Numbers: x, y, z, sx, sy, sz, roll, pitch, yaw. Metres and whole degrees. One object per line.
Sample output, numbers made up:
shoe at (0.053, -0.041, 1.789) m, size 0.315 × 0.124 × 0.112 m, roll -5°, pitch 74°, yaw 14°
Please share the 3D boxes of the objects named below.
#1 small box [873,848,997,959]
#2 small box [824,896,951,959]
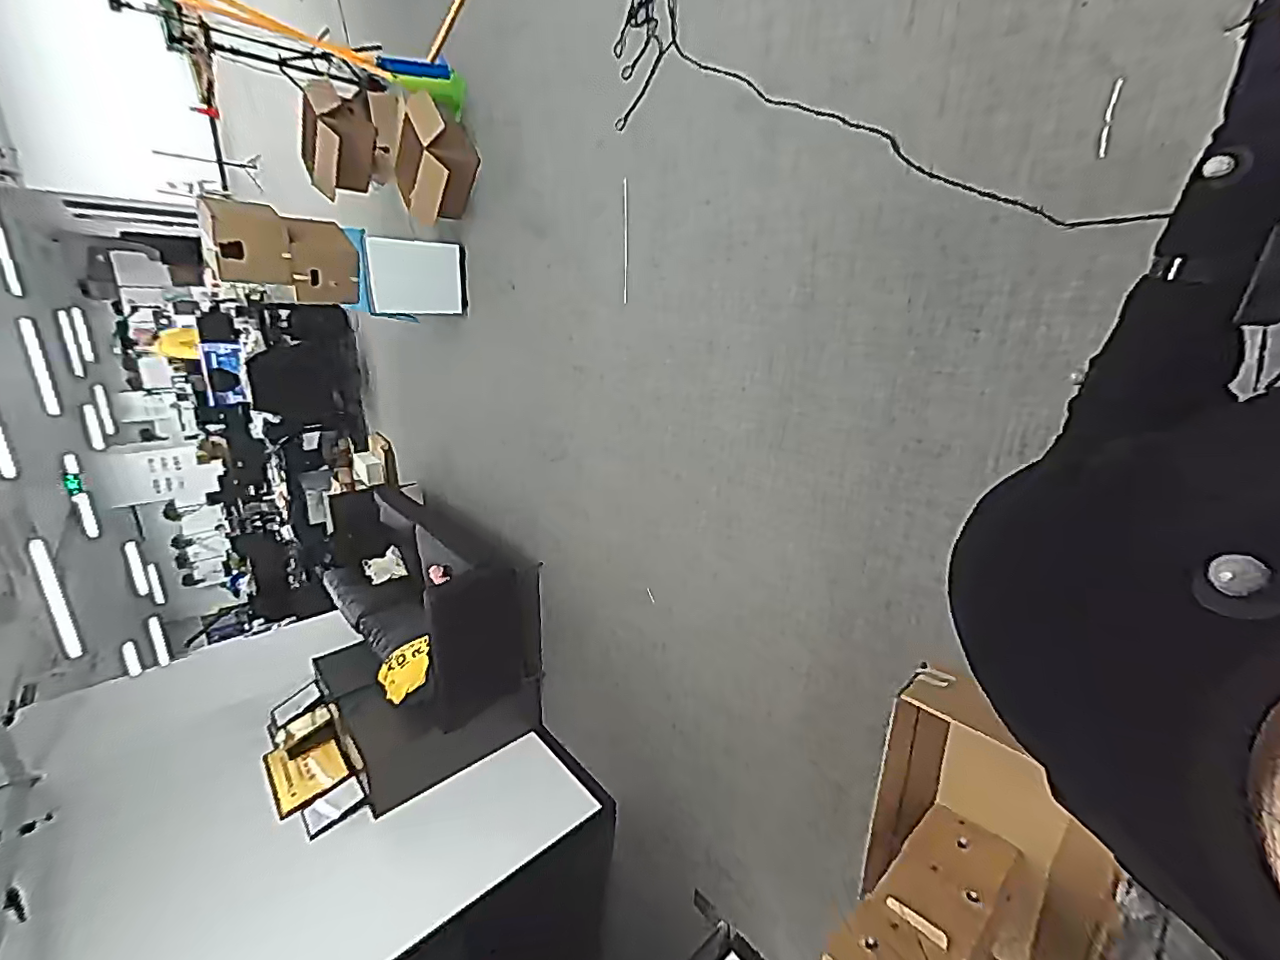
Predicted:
small box at (0.543, 0.845, 1.008) m, size 0.168 × 0.176 × 0.179 m, roll 12°, pitch 107°, yaw 47°
small box at (0.417, 0.865, 0.907) m, size 0.168 × 0.176 × 0.179 m, roll 16°, pitch 110°, yaw 47°
